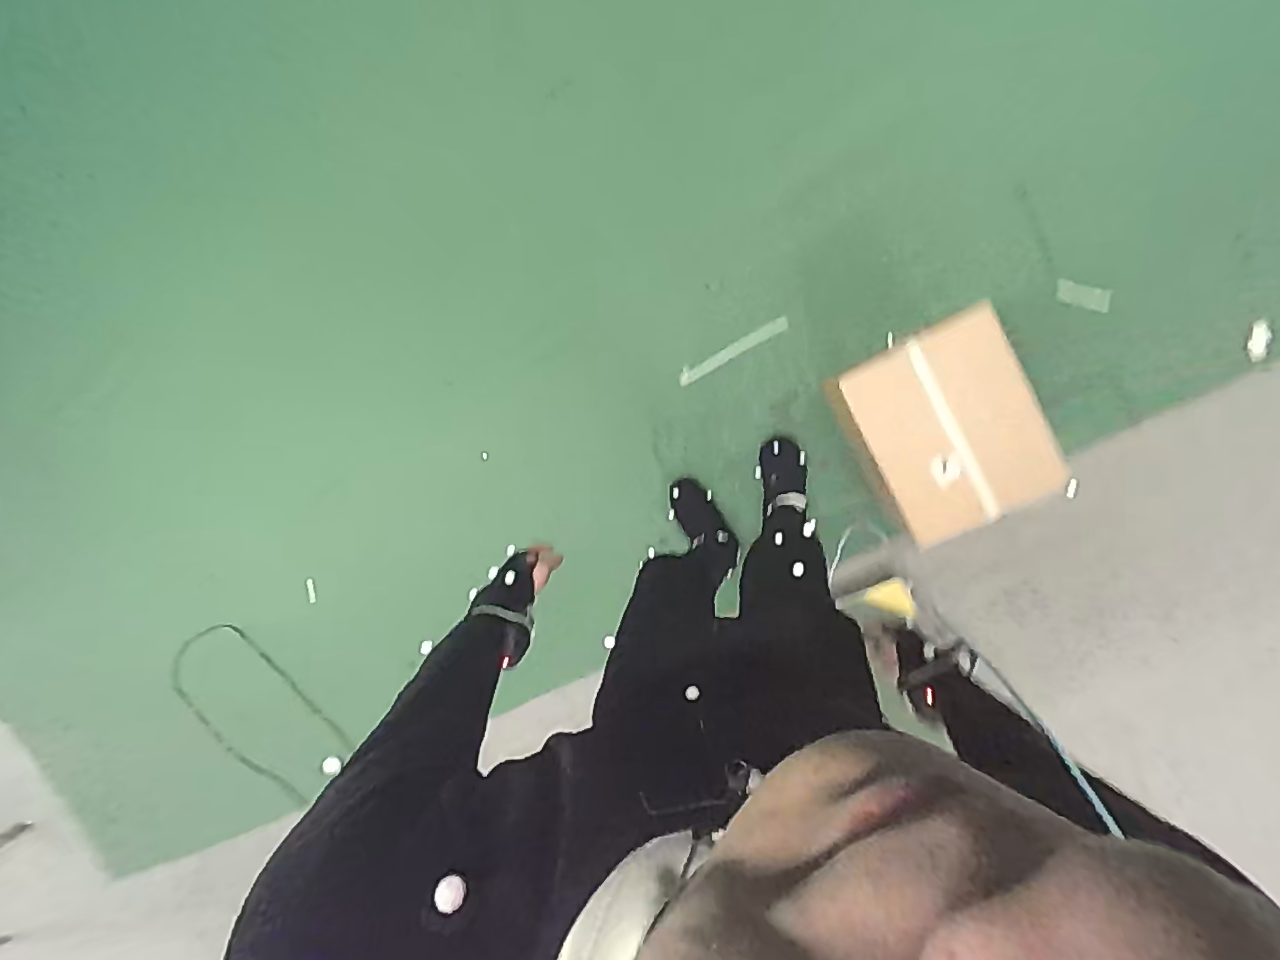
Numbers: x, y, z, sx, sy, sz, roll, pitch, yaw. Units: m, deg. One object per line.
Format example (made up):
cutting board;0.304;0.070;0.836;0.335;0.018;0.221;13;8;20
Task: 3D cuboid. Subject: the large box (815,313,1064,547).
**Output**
large box;0.659;-0.118;1.261;0.320;0.320;0.408;-28;94;14
